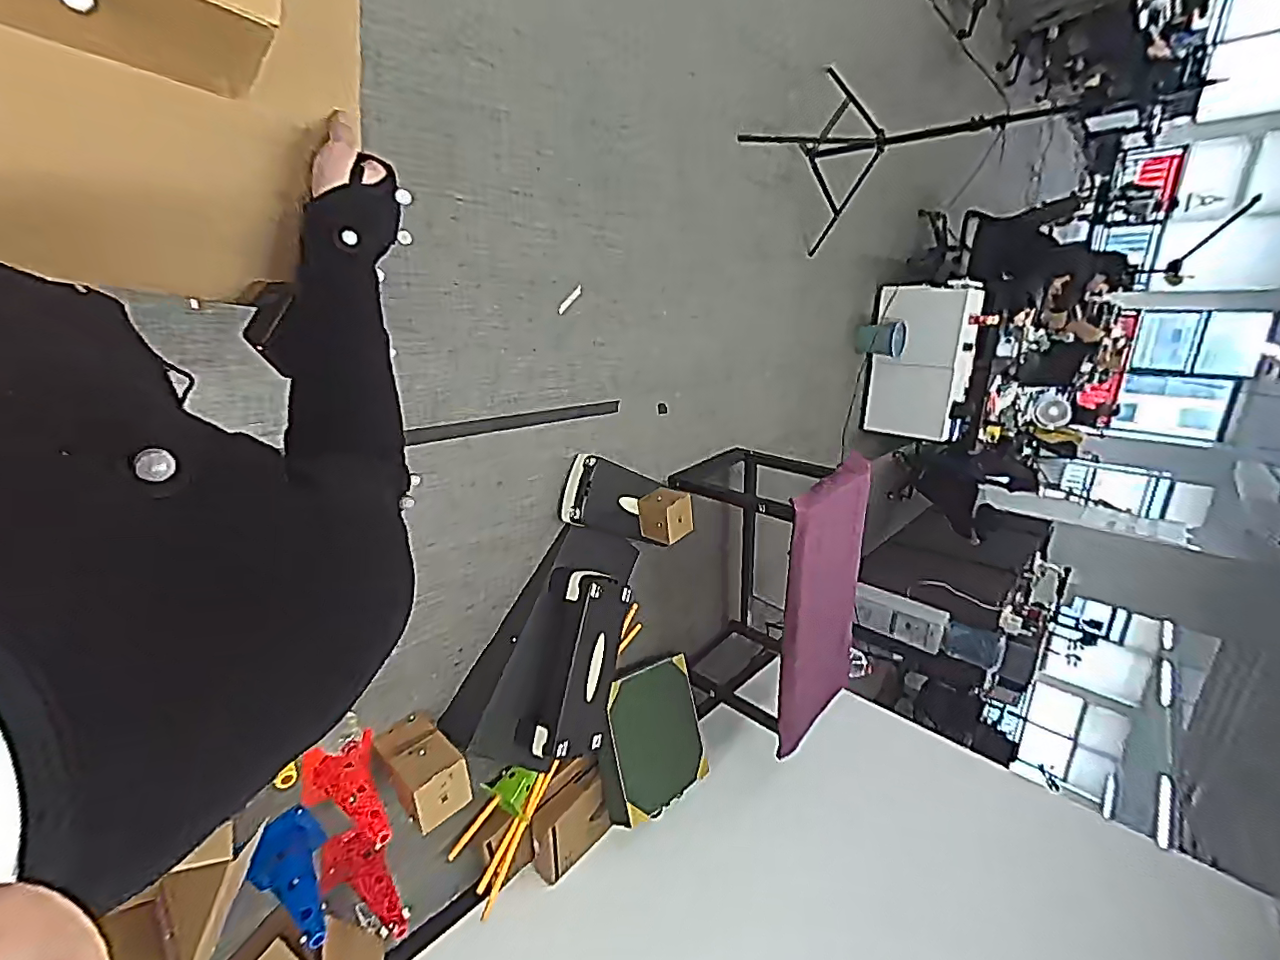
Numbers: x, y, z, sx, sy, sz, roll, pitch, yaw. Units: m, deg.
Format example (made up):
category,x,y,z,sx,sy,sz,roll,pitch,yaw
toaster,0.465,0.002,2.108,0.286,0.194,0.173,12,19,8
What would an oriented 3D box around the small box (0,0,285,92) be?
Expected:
category,x,y,z,sx,sy,sz,roll,pitch,yaw
small box,-0.344,-0.383,0.342,0.179,0.176,0.168,-5,106,-41
